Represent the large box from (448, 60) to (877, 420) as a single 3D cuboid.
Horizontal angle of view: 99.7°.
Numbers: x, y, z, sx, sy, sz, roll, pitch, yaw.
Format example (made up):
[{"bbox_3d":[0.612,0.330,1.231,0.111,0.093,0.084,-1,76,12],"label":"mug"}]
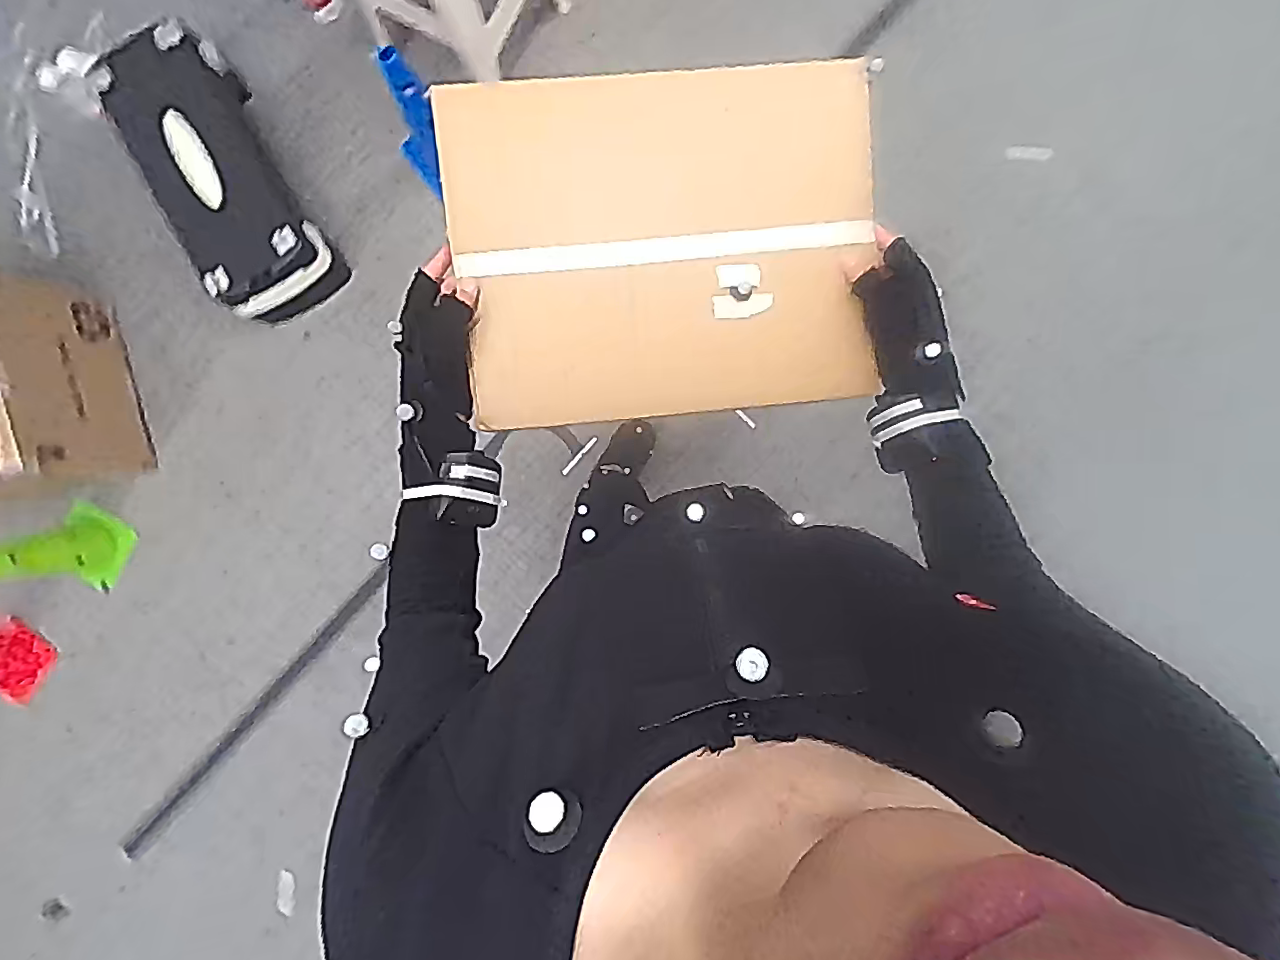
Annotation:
[{"bbox_3d":[0.022,-0.248,0.670,0.408,0.320,0.320,-5,98,-3],"label":"large box"}]
